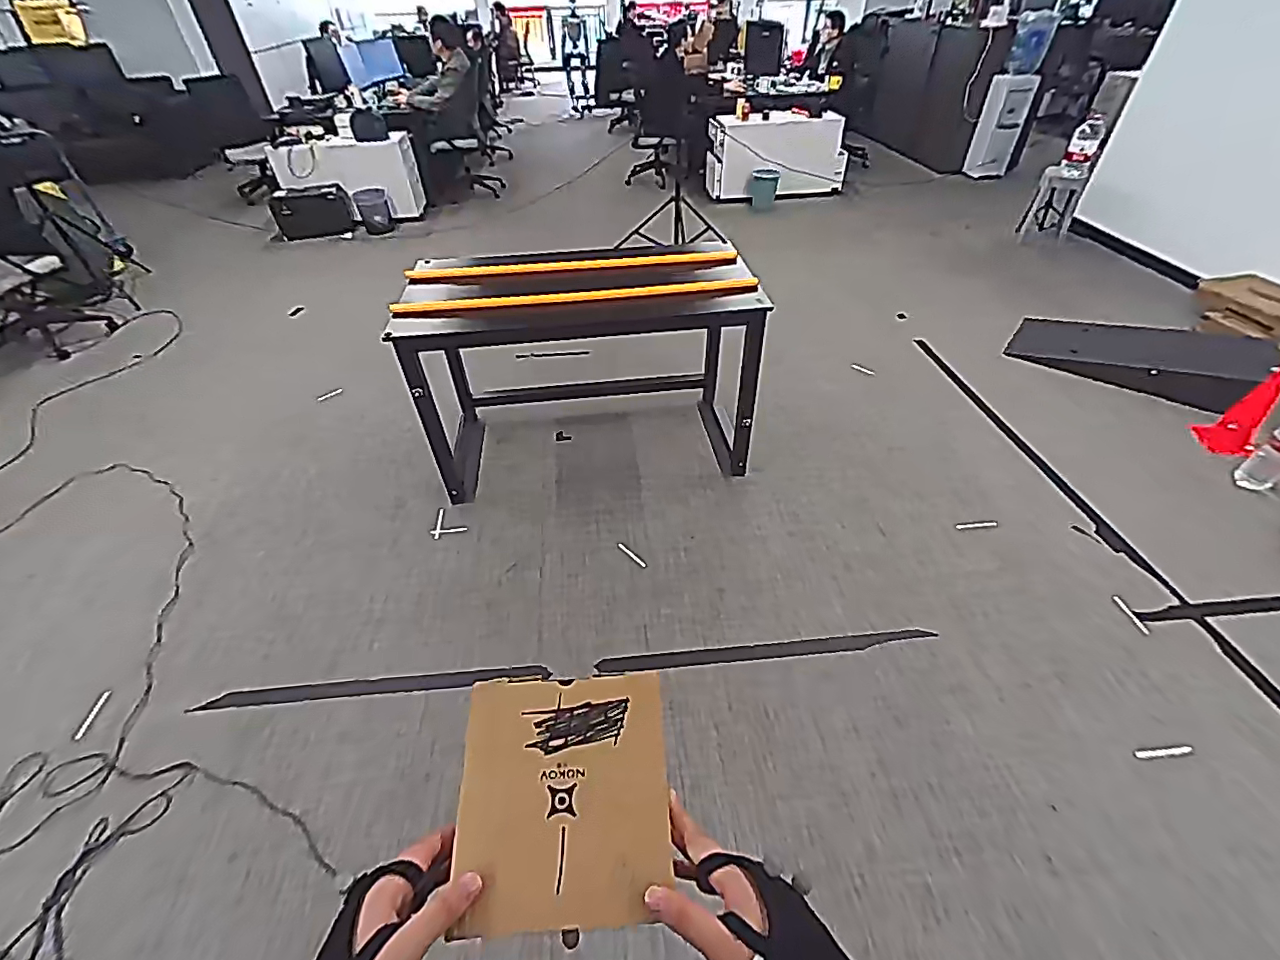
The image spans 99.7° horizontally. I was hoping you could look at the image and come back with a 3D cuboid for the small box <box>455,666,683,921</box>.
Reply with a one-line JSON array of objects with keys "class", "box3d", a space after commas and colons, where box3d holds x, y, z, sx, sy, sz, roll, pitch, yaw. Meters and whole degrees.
[{"class": "small box", "box3d": [-0.054, 0.288, 0.498, 0.168, 0.176, 0.179, -3, 54, -1]}]
